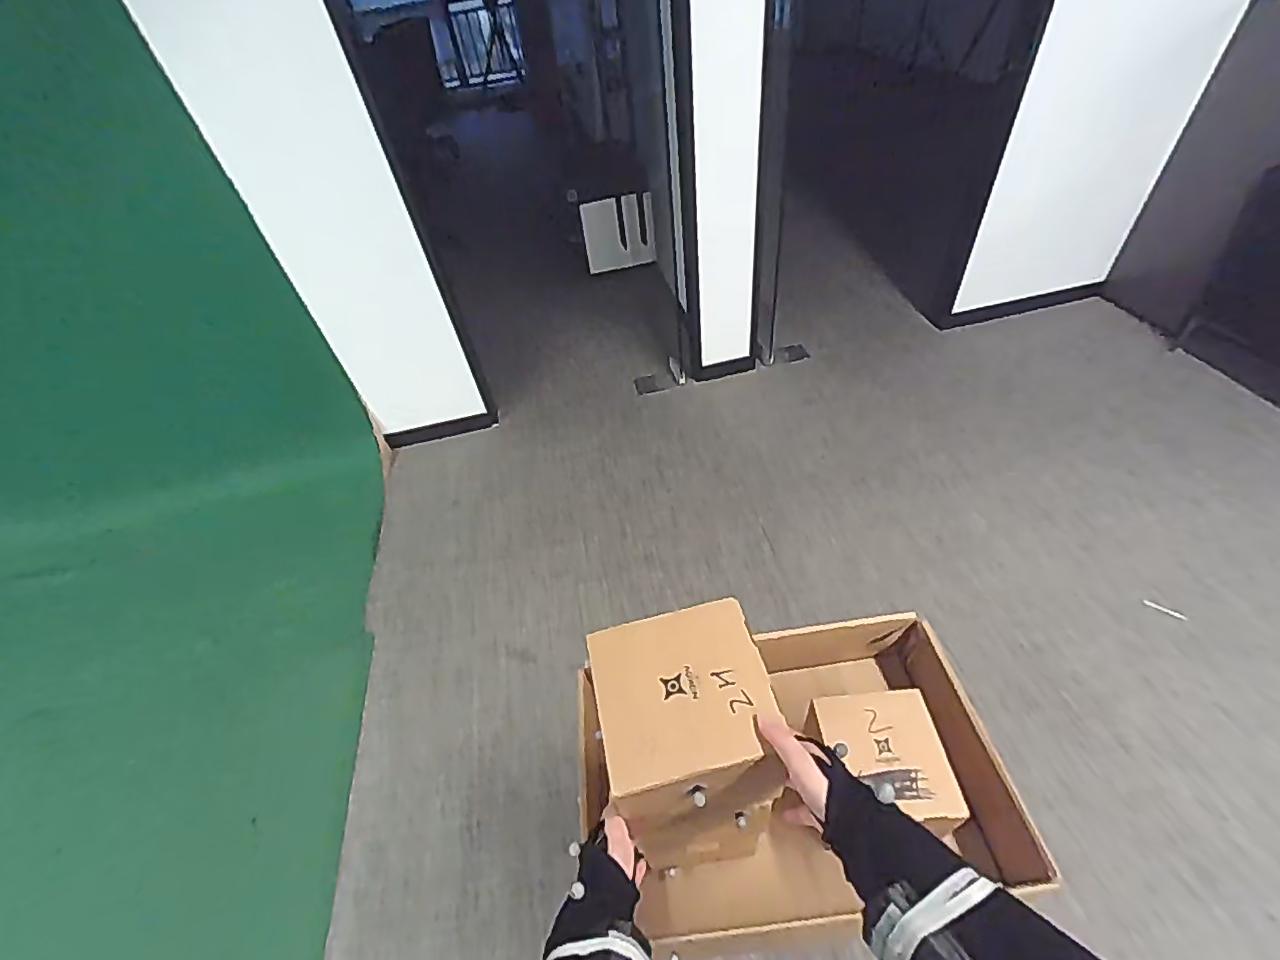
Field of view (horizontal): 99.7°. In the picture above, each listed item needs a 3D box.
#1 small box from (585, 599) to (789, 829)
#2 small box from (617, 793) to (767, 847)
[{"bbox_3d":[0.048,0.262,0.601,0.179,0.176,0.168,-13,47,-4],"label":"small box"},{"bbox_3d":[0.061,0.372,0.726,0.179,0.176,0.168,-8,46,-1],"label":"small box"}]
